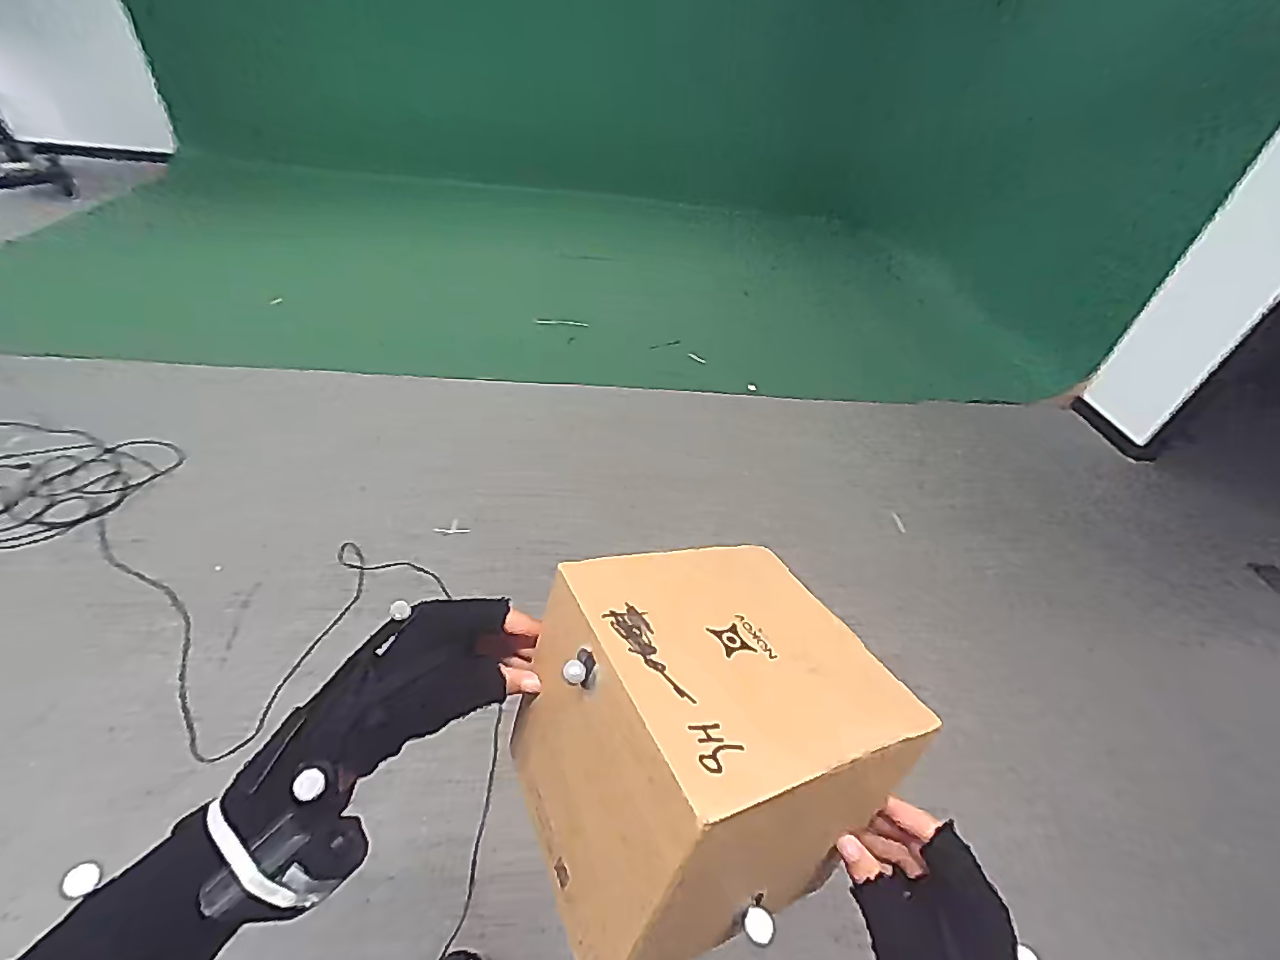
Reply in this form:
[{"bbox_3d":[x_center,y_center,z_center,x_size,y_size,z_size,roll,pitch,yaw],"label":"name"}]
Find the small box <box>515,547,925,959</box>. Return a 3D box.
[{"bbox_3d":[0.035,0.163,0.359,0.179,0.176,0.168,1,29,-33],"label":"small box"}]
